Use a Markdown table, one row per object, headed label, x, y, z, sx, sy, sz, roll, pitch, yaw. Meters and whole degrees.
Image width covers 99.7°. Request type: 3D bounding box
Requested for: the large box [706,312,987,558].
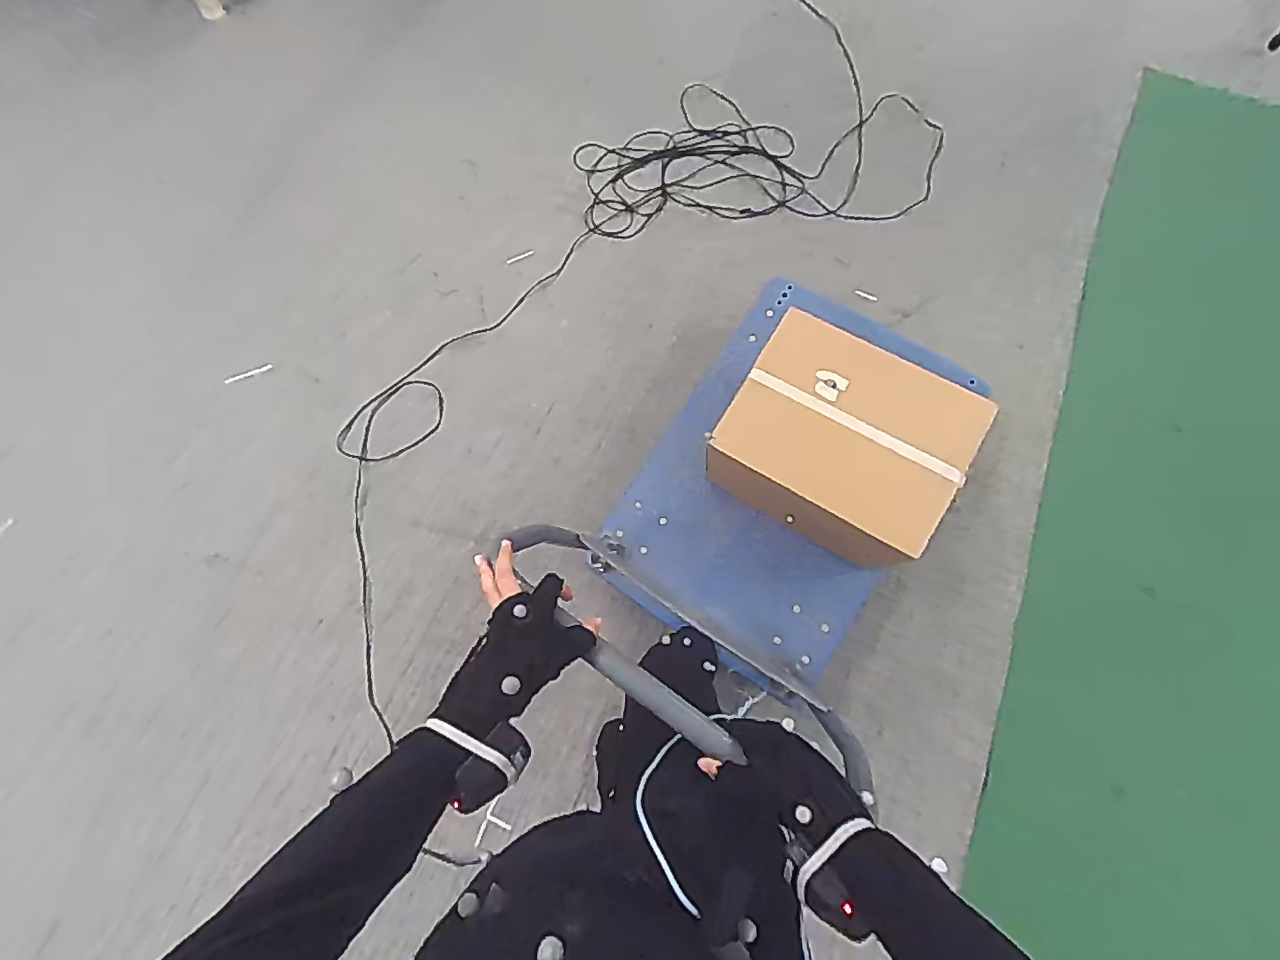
| label | x | y | z | sx | sy | sz | roll | pitch | yaw |
| --- | --- | --- | --- | --- | --- | --- | --- | --- | --- |
| large box | 0.387 | -0.071 | 1.115 | 0.408 | 0.320 | 0.320 | 29 | 83 | 13 |
